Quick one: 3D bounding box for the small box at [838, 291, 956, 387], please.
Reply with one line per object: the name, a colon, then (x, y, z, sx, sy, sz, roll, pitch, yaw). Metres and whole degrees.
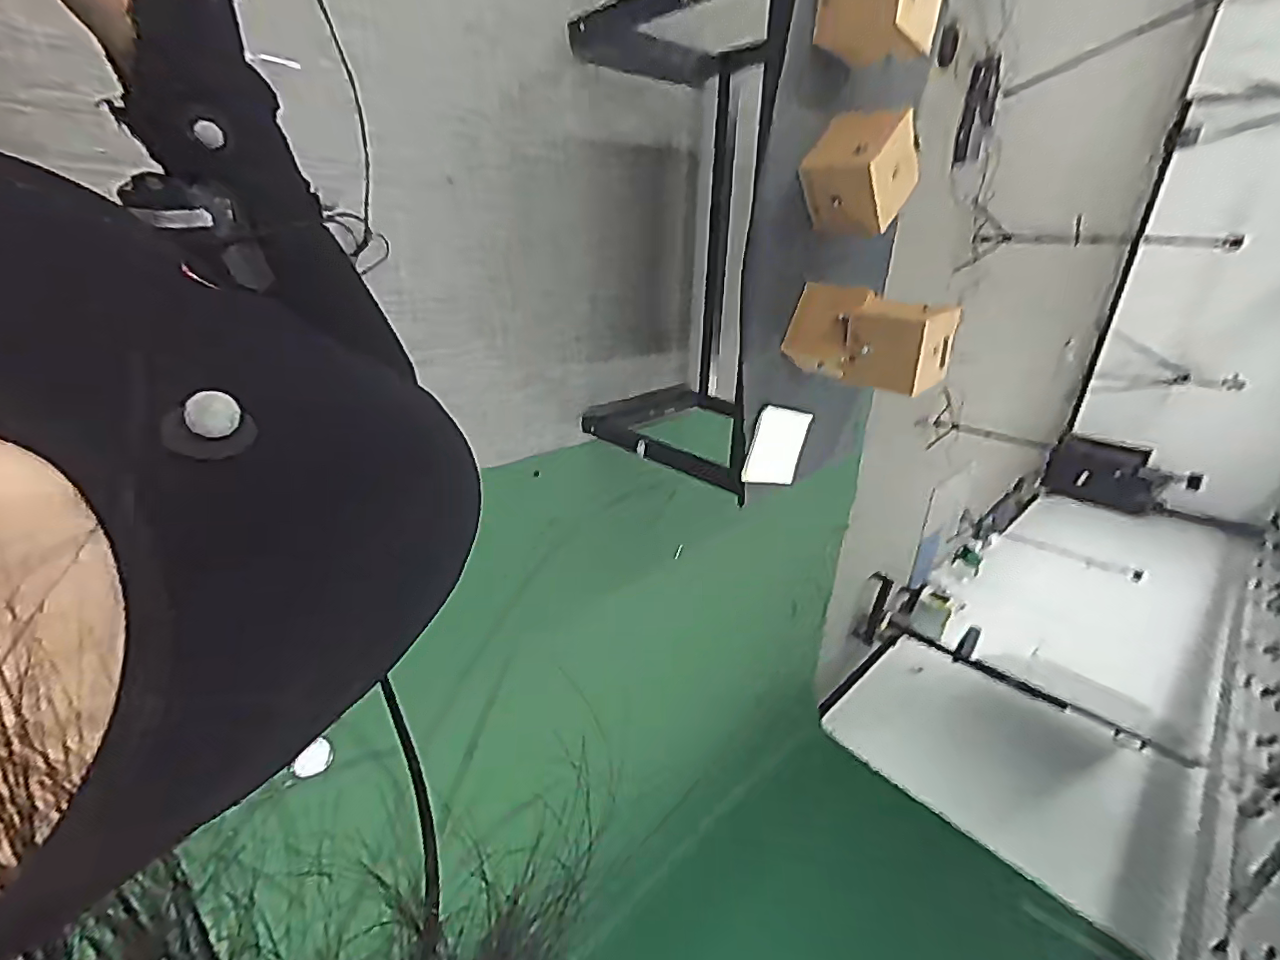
small box: (0.574, -0.324, 1.215, 0.179, 0.176, 0.168, -26, 125, -36)

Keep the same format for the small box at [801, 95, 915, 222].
small box: (0.469, -0.690, 1.177, 0.179, 0.176, 0.168, -55, 139, -11)

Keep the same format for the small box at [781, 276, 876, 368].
small box: (0.473, -0.382, 1.333, 0.168, 0.176, 0.179, 17, 95, -49)
